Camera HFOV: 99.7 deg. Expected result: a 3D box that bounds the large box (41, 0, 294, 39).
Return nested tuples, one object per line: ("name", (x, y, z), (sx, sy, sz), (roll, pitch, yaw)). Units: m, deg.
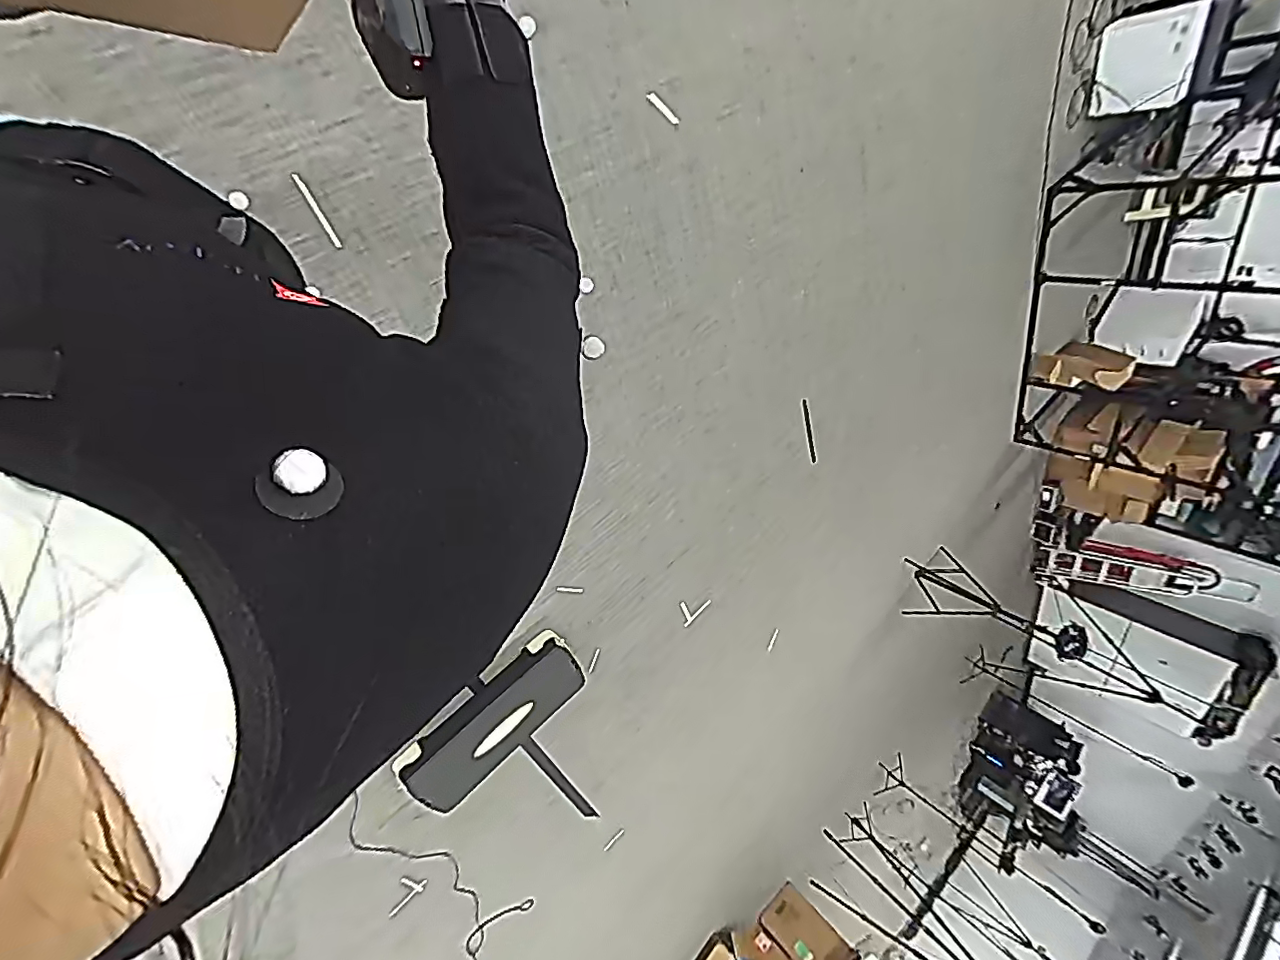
("large box", (-0.408, -0.452, 0.233), (0.408, 0.320, 0.320), (-17, 122, -36))
